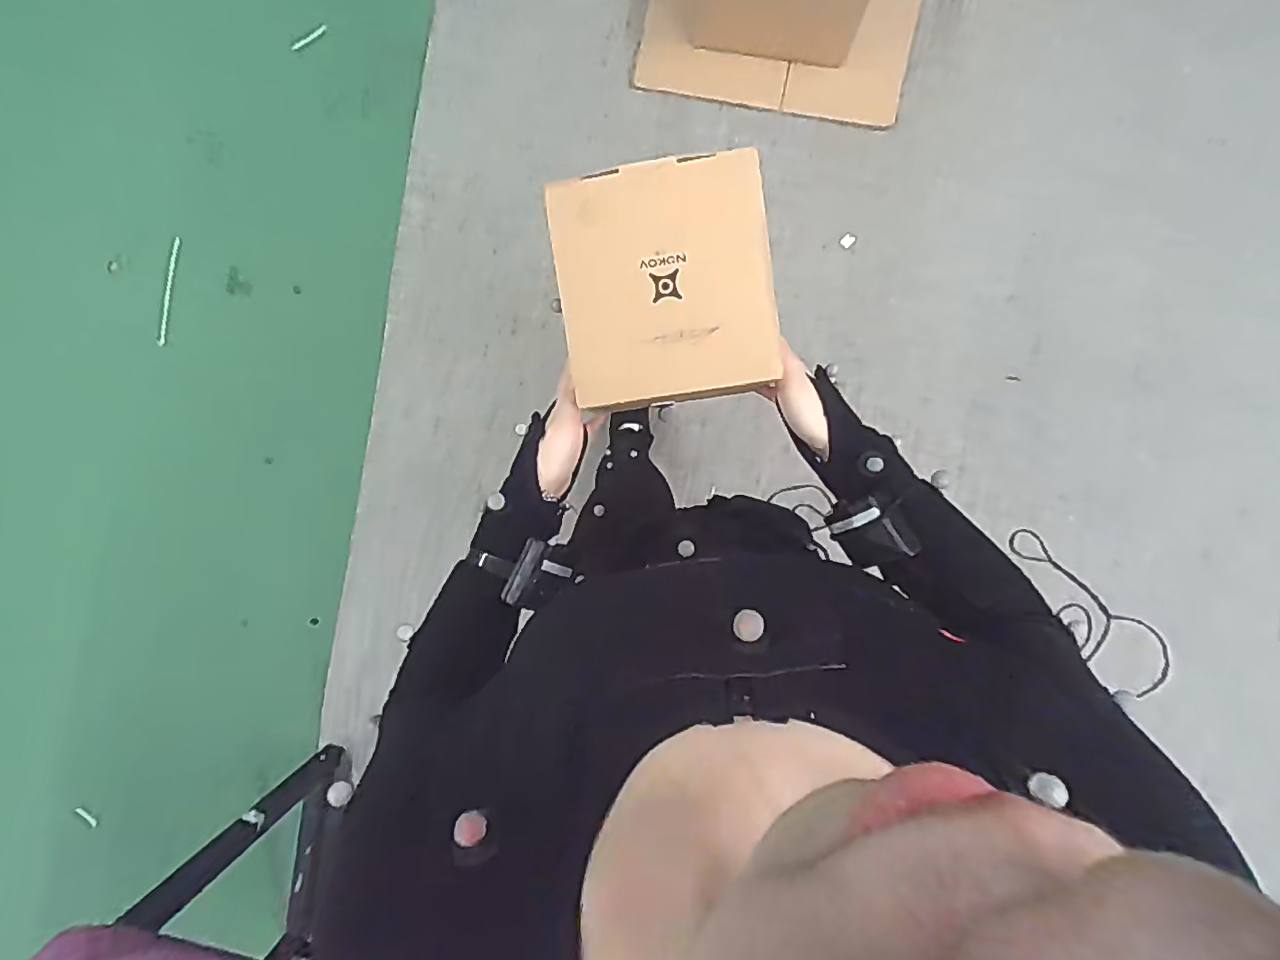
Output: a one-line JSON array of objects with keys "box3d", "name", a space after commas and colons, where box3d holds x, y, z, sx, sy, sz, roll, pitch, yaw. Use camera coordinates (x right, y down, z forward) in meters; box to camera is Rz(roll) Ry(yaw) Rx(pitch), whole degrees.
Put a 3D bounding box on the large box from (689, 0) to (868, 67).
[{"box3d": [0.340, -1.251, 1.268, 0.408, 0.320, 0.320, 10, 93, 2], "name": "large box"}]
